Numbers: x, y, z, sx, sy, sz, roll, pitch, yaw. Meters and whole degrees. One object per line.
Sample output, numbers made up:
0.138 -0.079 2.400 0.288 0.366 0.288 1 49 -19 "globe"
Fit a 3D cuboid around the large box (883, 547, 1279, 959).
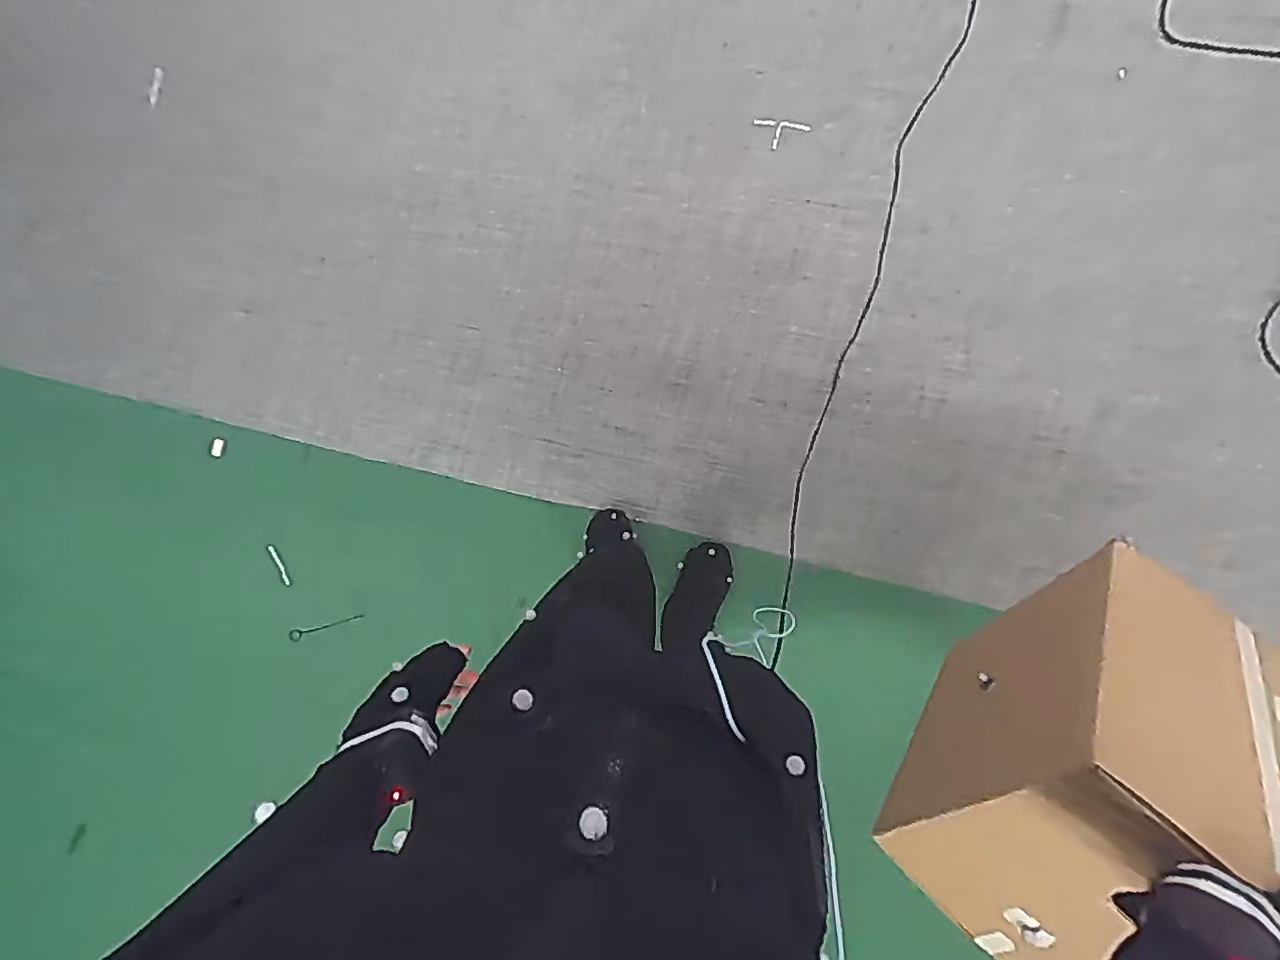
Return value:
0.566 0.364 0.652 0.320 0.408 0.320 42 136 16 "large box"
